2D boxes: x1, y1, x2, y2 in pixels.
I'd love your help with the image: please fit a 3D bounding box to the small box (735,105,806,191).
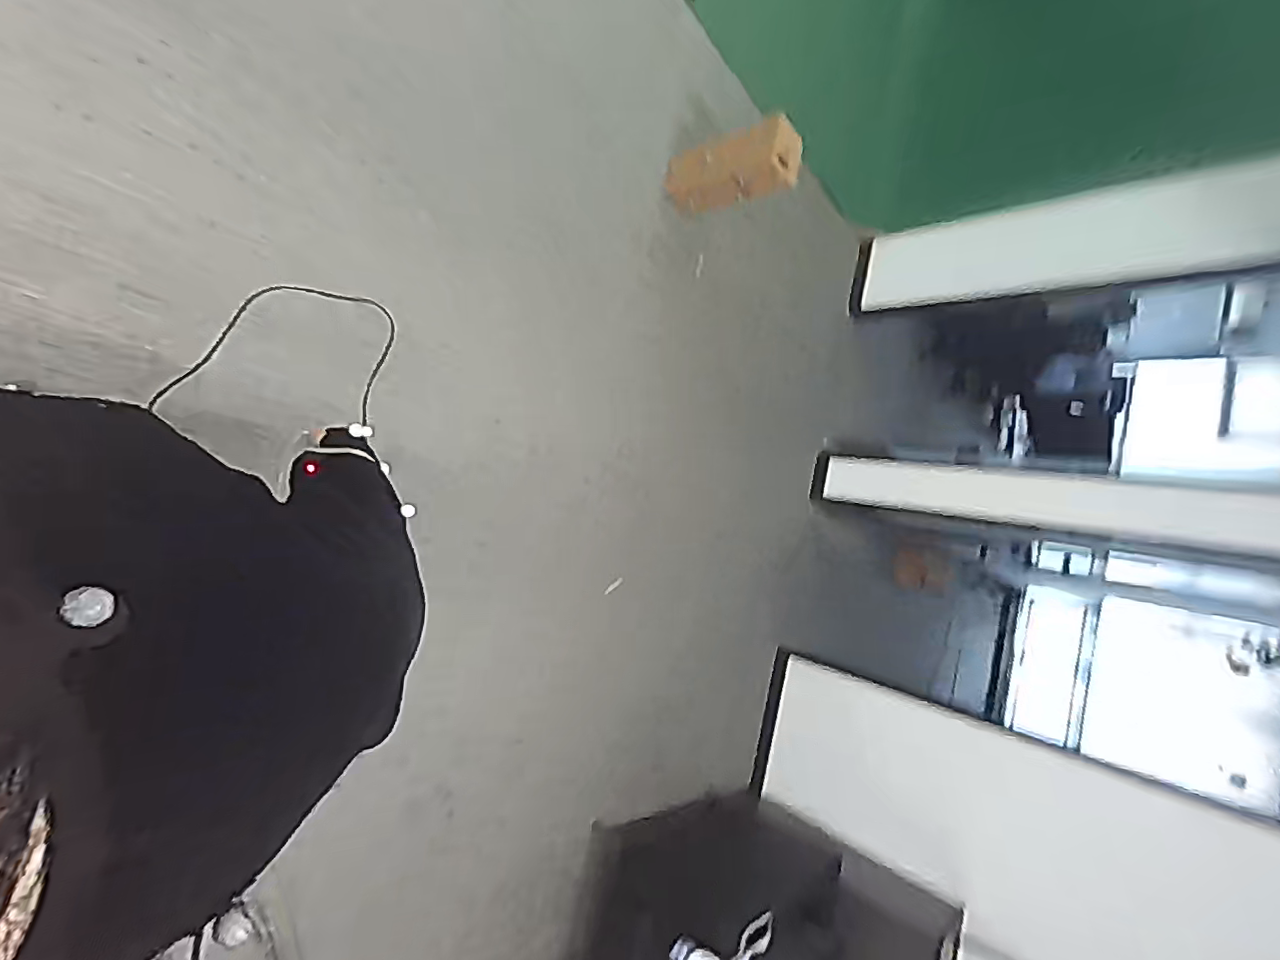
[{"bbox_3d":[0.456,-1.154,1.901,0.168,0.176,0.179,16,84,-45],"label":"small box"}]
